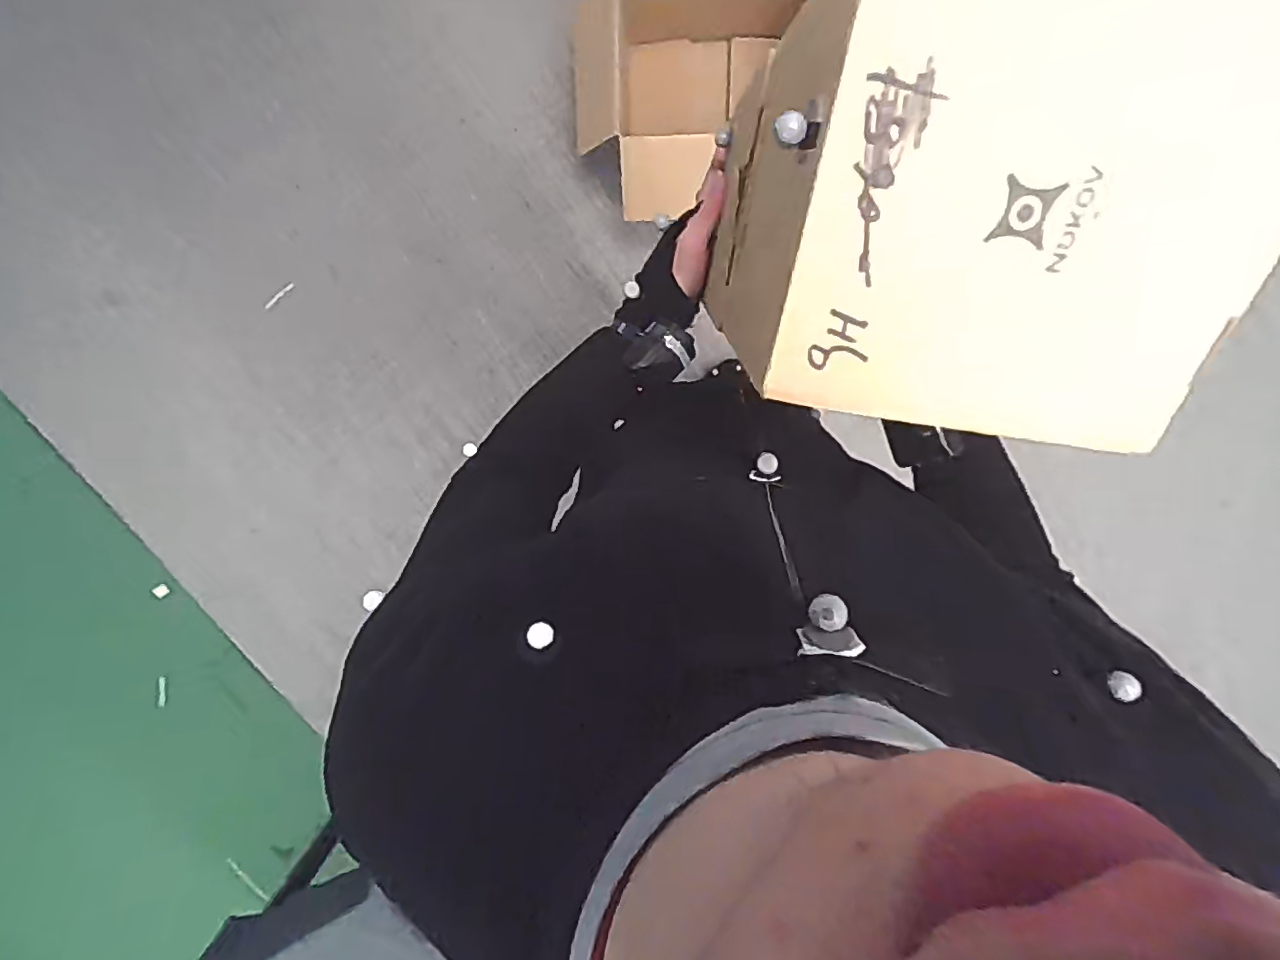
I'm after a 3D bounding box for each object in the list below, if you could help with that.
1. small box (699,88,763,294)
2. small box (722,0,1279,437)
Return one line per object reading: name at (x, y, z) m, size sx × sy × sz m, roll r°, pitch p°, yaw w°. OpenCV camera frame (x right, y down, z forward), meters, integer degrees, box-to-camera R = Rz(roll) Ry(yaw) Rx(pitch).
small box at (0.163, -0.275, 0.556) m, size 0.179 × 0.176 × 0.168 m, roll 9°, pitch 115°, yaw 0°
small box at (0.149, -0.135, 0.259) m, size 0.179 × 0.176 × 0.168 m, roll 8°, pitch 114°, yaw -3°
